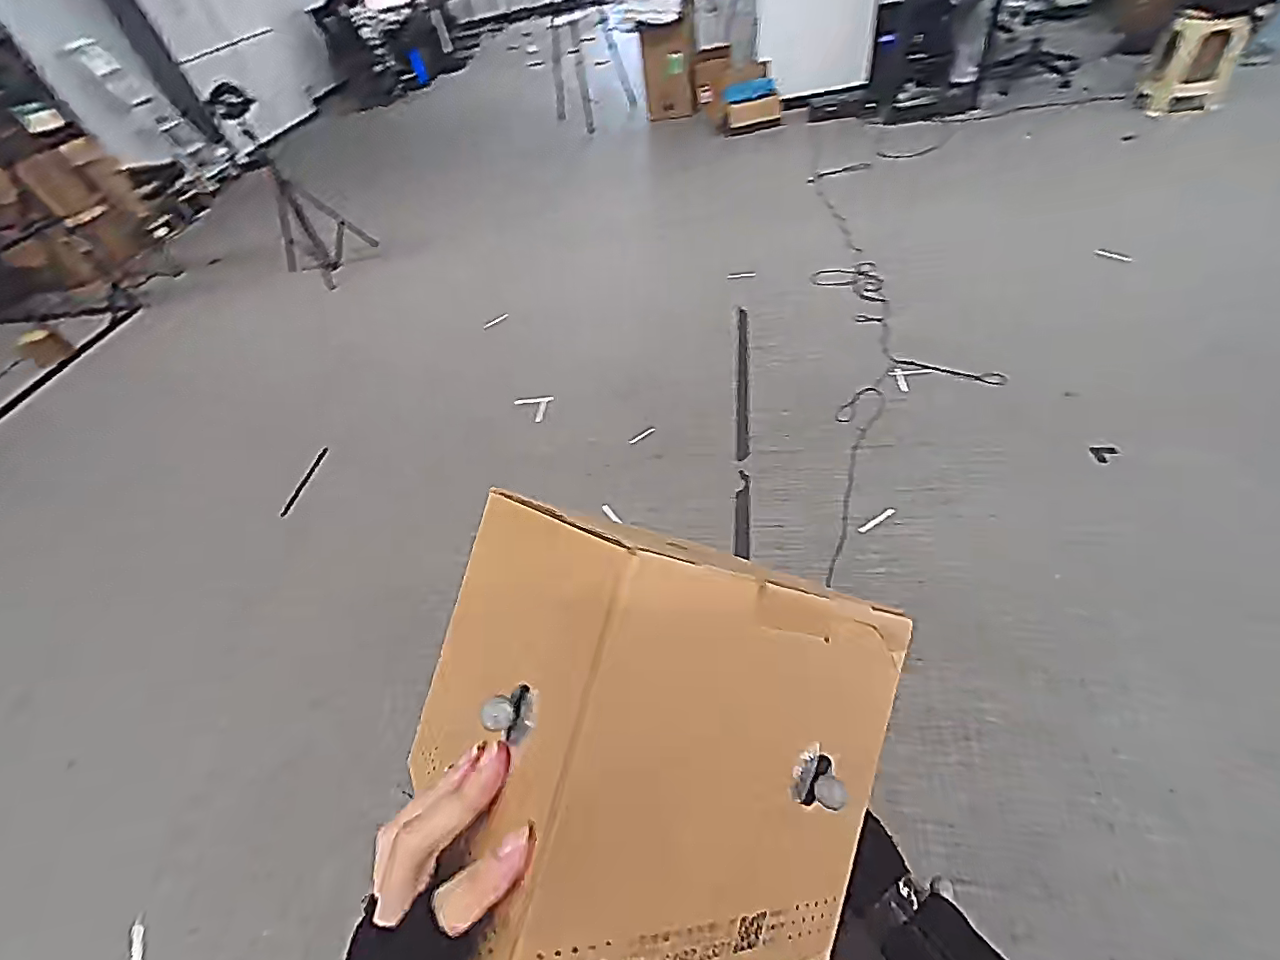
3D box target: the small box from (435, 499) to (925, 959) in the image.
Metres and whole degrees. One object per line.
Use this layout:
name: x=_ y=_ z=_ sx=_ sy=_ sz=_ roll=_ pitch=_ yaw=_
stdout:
small box: x=0.006 y=0.119 z=0.286 sx=0.179 sy=0.168 sz=0.176 roll=10 pitch=83 yaw=62
